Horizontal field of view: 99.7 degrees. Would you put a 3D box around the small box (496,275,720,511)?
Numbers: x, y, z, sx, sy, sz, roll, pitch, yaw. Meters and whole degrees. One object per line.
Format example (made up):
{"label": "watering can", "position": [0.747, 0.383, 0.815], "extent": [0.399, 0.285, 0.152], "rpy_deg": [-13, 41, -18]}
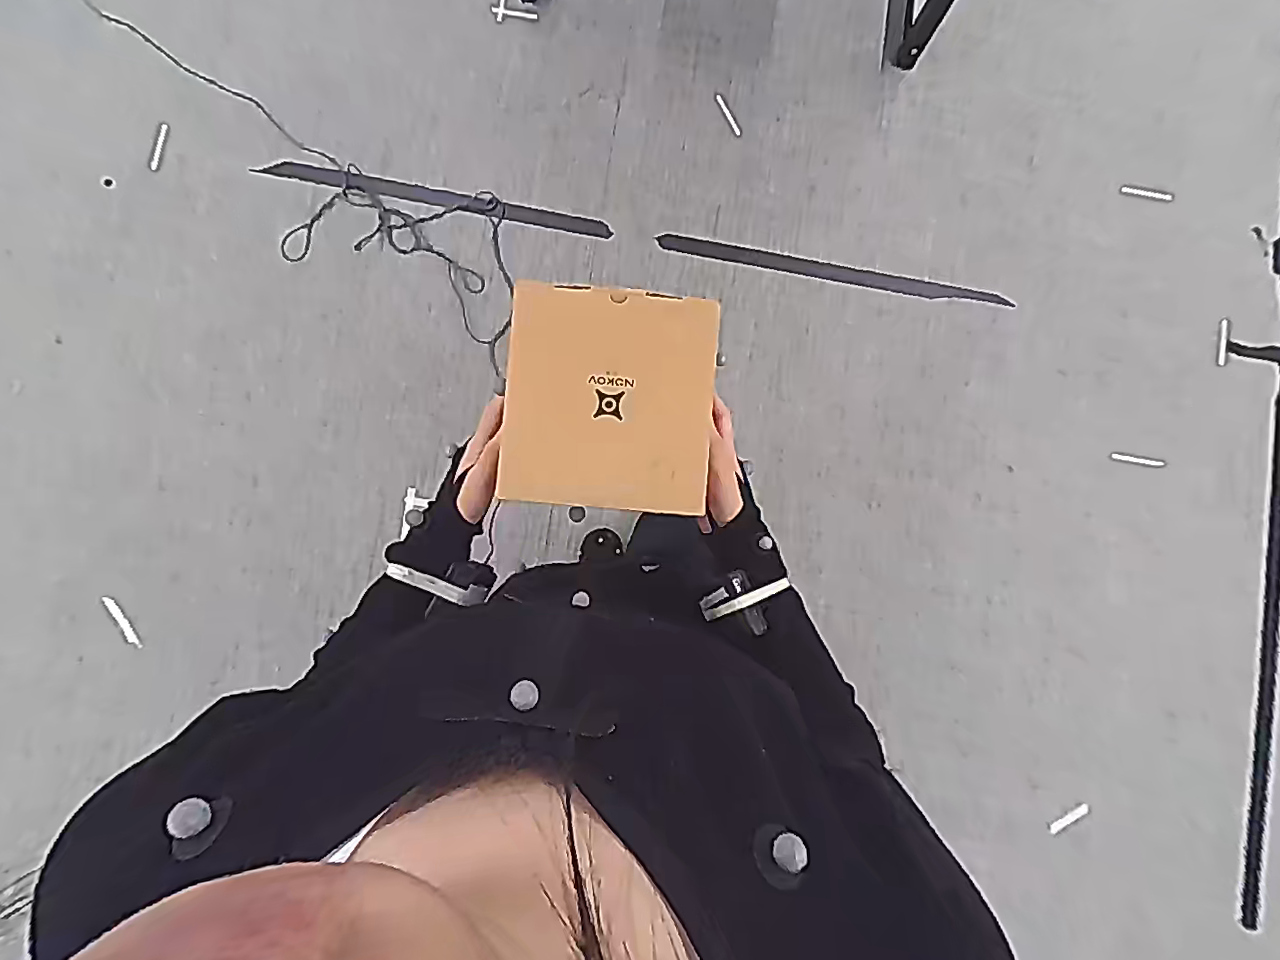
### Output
{"label": "small box", "position": [-0.027, -0.066, 0.503], "extent": [0.168, 0.176, 0.179], "rpy_deg": [4, 87, -3]}

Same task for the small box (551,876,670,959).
{"label": "small box", "position": [-0.049, 0.721, 0.774], "extent": [0.168, 0.176, 0.179], "rpy_deg": [8, 86, -1]}
